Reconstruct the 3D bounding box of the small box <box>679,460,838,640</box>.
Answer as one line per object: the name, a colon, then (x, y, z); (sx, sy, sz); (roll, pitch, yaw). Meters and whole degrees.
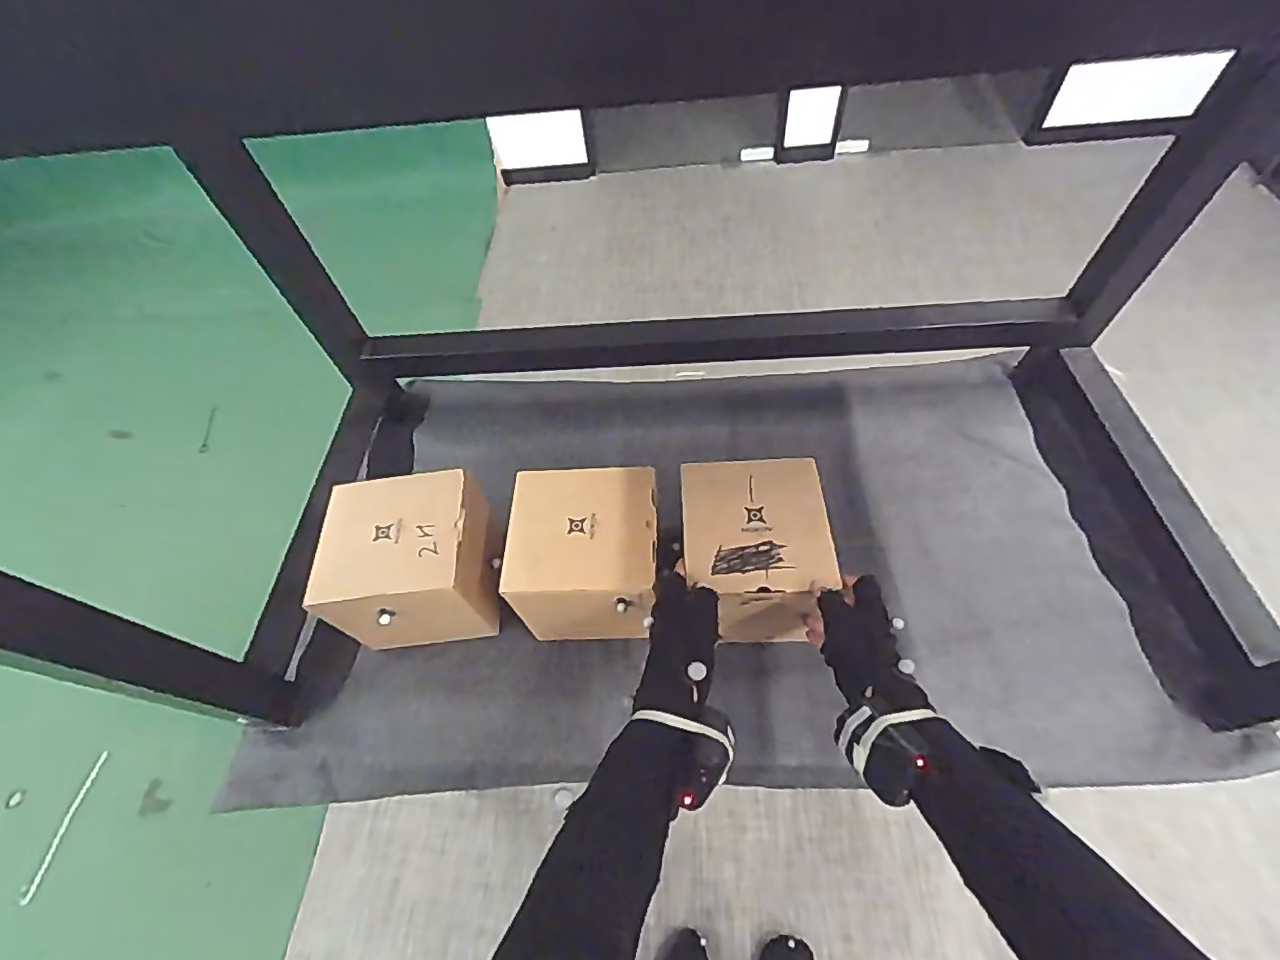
small box: (0.136, 0.096, 0.680); (0.168, 0.176, 0.179); (-2, 55, 5)
